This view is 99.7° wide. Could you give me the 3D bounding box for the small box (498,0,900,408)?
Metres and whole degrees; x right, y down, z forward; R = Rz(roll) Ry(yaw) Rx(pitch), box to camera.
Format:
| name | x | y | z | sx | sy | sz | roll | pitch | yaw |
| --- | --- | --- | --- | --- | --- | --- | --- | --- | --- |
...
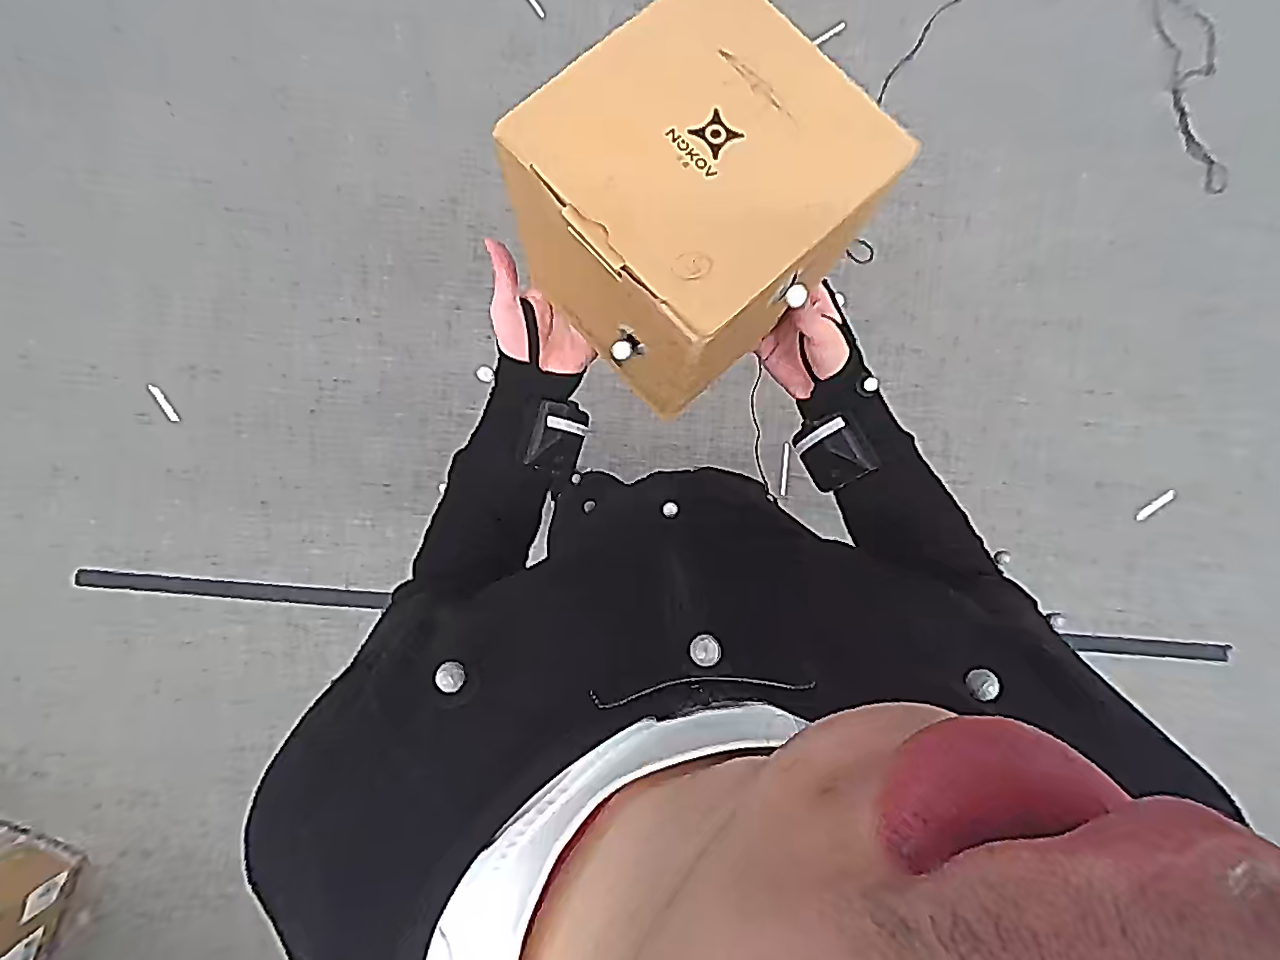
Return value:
| name | x | y | z | sx | sy | sz | roll | pitch | yaw |
| --- | --- | --- | --- | --- | --- | --- | --- | --- | --- |
| small box | 0.033 | -0.179 | 0.386 | 0.168 | 0.176 | 0.179 | 44 | 81 | 4 |
